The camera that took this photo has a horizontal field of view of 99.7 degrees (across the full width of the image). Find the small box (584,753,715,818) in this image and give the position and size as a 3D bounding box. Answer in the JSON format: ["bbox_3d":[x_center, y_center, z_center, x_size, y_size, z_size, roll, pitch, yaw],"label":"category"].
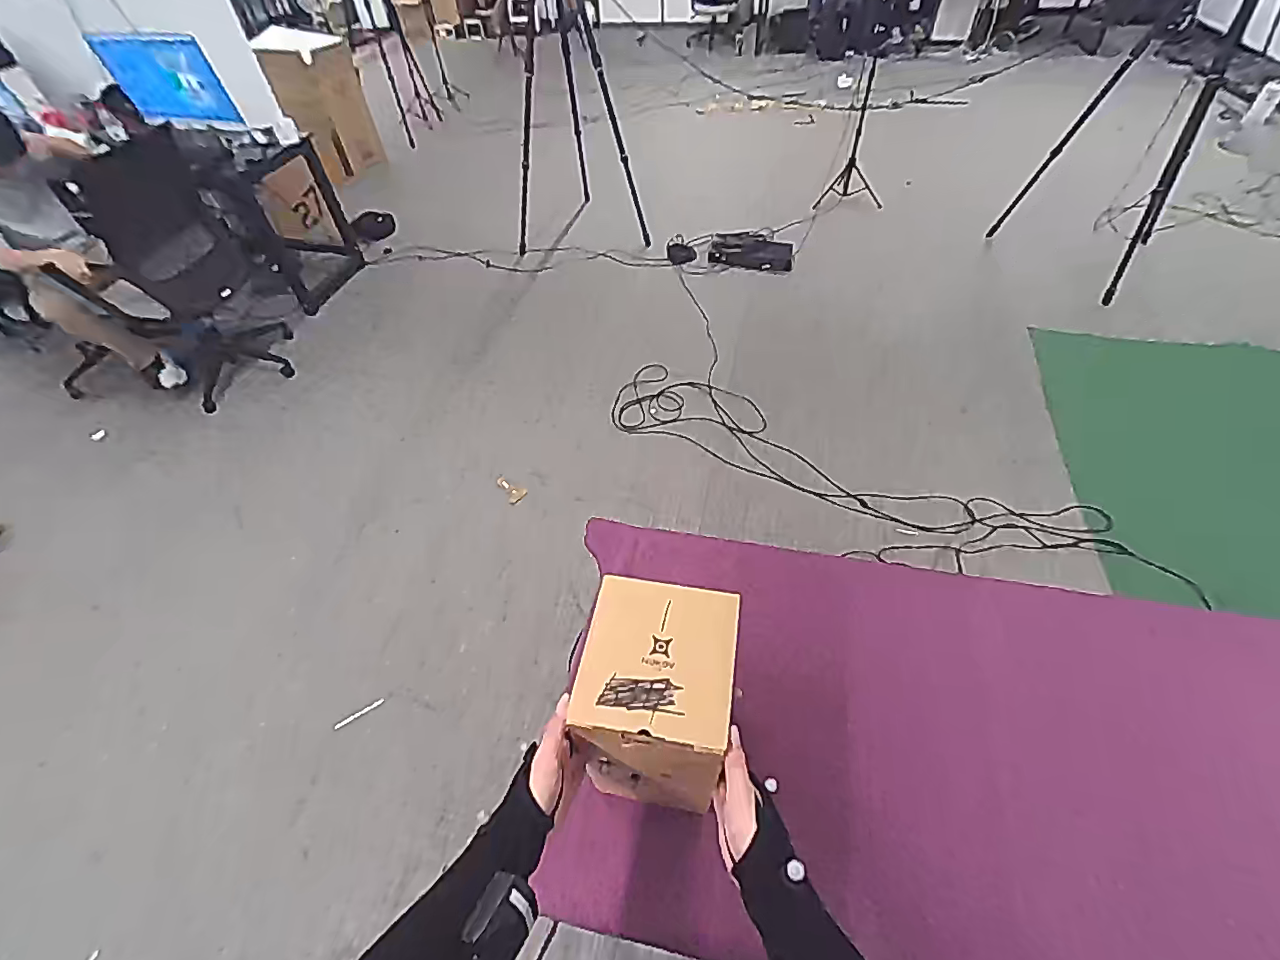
[{"bbox_3d":[0.029,0.352,0.769,0.168,0.176,0.179,6,49,10],"label":"small box"}]

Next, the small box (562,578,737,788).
[{"bbox_3d":[0.021,0.244,0.644,0.168,0.176,0.179,7,49,9],"label":"small box"}]
